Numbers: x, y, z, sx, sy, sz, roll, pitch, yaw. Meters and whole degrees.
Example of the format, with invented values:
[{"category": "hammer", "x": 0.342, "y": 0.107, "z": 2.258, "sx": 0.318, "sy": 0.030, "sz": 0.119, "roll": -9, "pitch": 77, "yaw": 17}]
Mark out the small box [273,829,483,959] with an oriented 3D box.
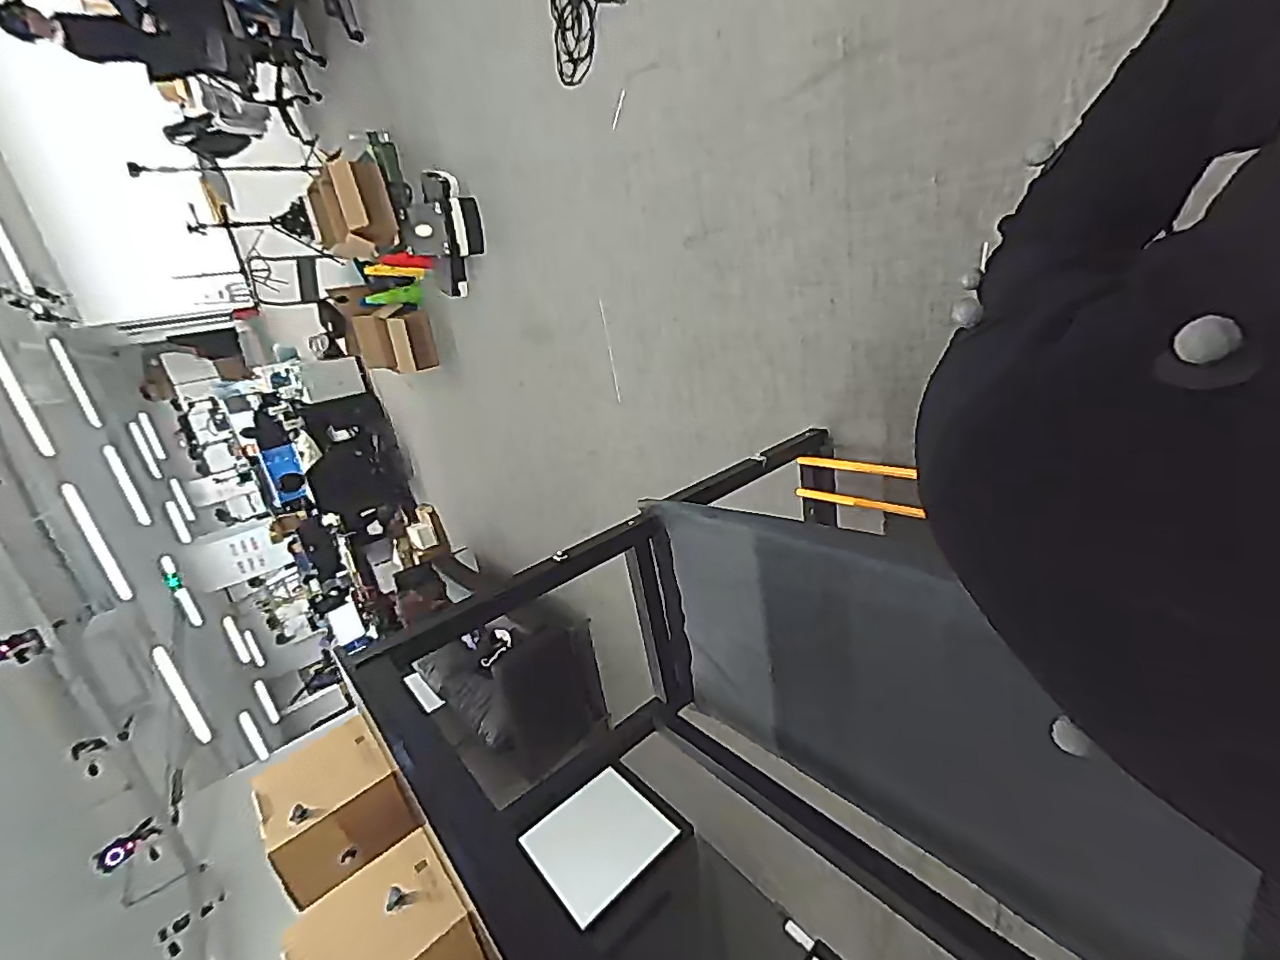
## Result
[{"category": "small box", "x": -0.276, "y": 0.549, "z": 0.601, "sx": 0.168, "sy": 0.176, "sz": 0.179, "roll": 6, "pitch": 113, "yaw": 51}]
